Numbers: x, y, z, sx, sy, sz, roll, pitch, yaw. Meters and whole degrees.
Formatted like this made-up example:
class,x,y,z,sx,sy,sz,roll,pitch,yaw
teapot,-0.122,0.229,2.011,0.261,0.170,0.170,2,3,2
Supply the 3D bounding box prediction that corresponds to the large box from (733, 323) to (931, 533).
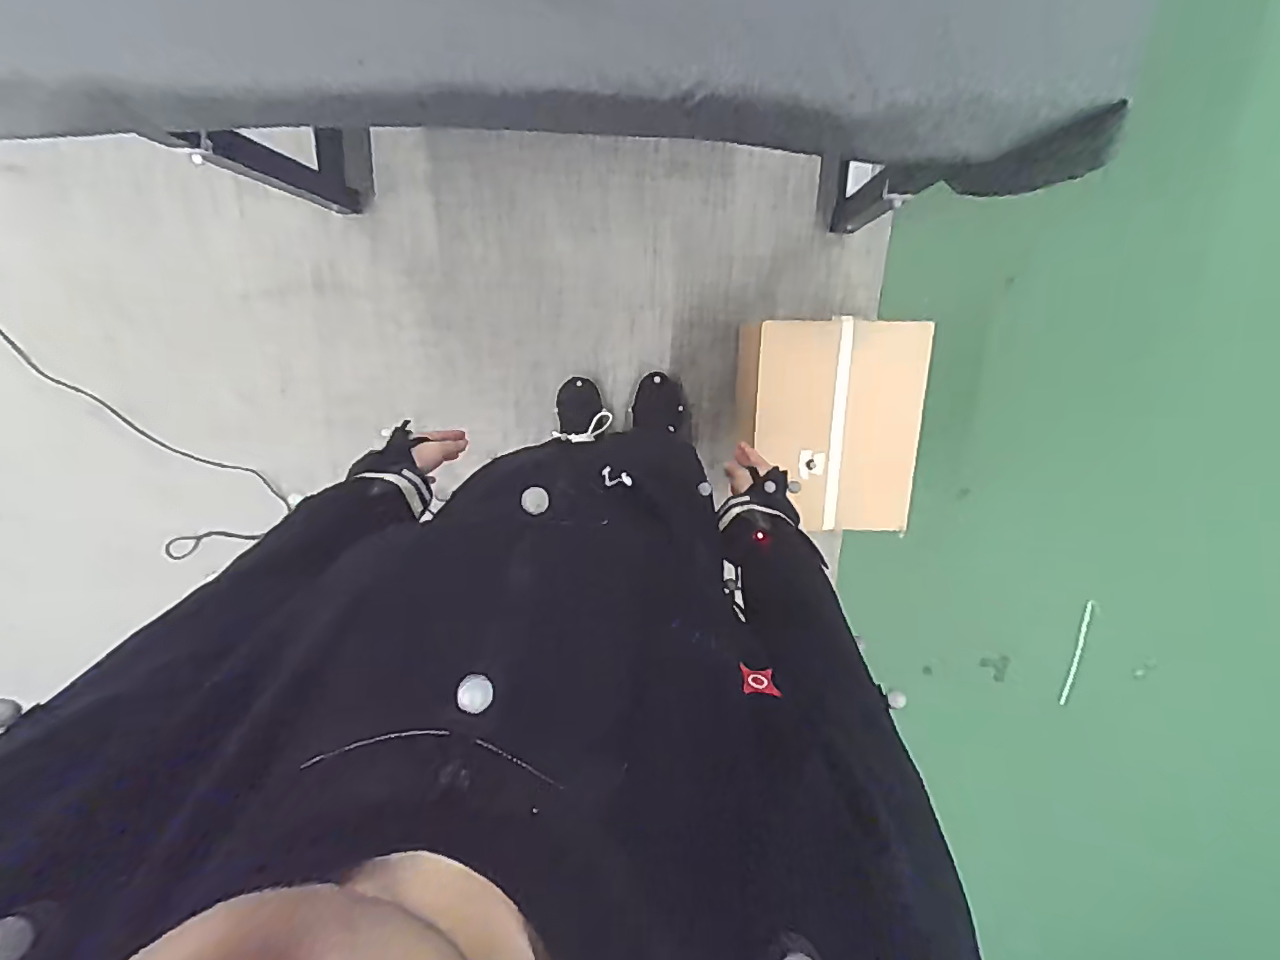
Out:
class,x,y,z,sx,sy,sz,roll,pitch,yaw
large box,0.381,-0.126,1.171,0.320,0.320,0.408,1,104,3
